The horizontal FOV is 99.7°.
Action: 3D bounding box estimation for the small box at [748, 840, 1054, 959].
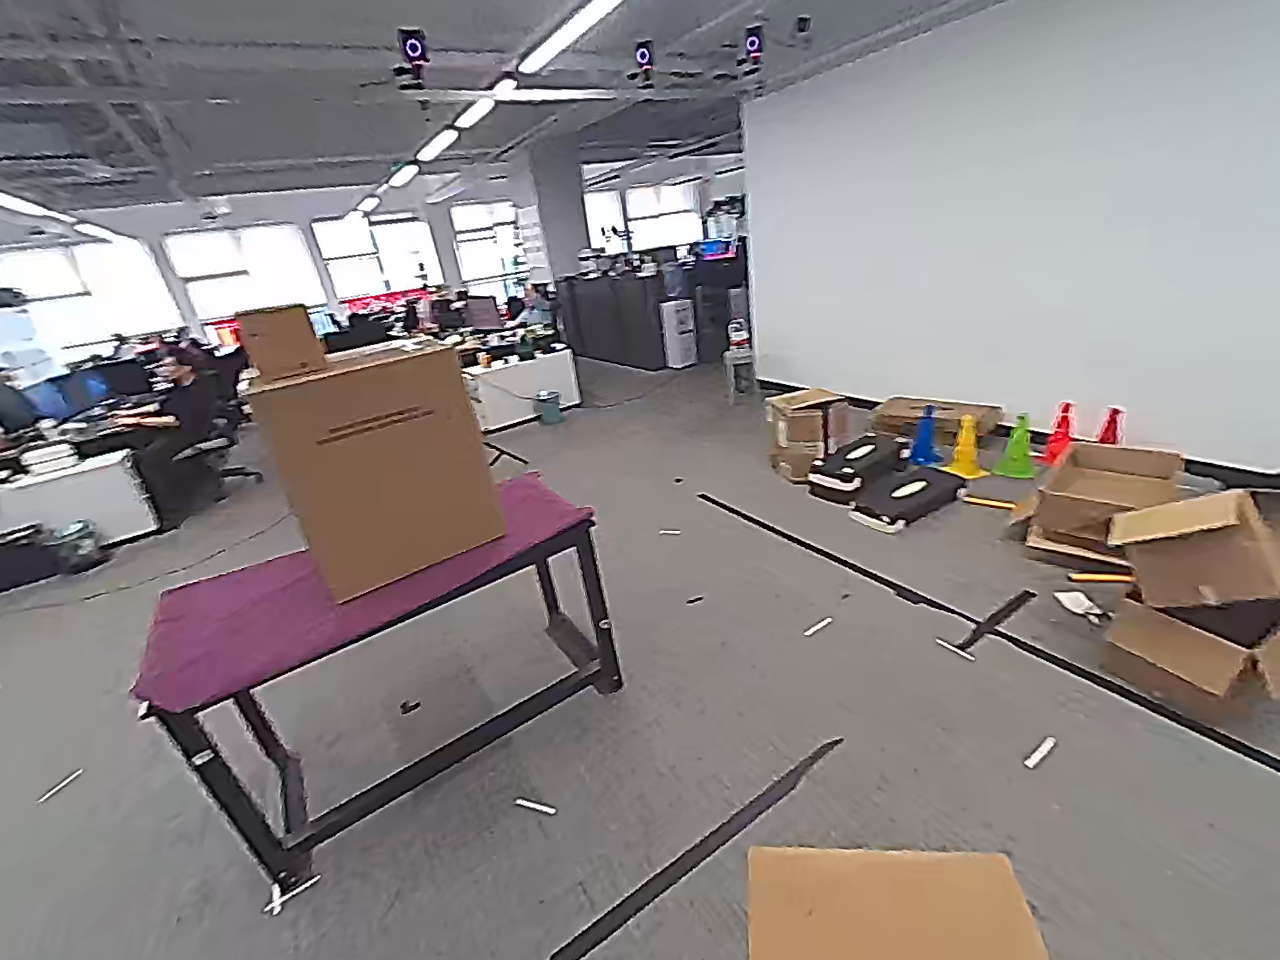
[{"bbox_3d":[0.156,0.351,0.315,0.168,0.176,0.179,-8,22,13],"label":"small box"}]
